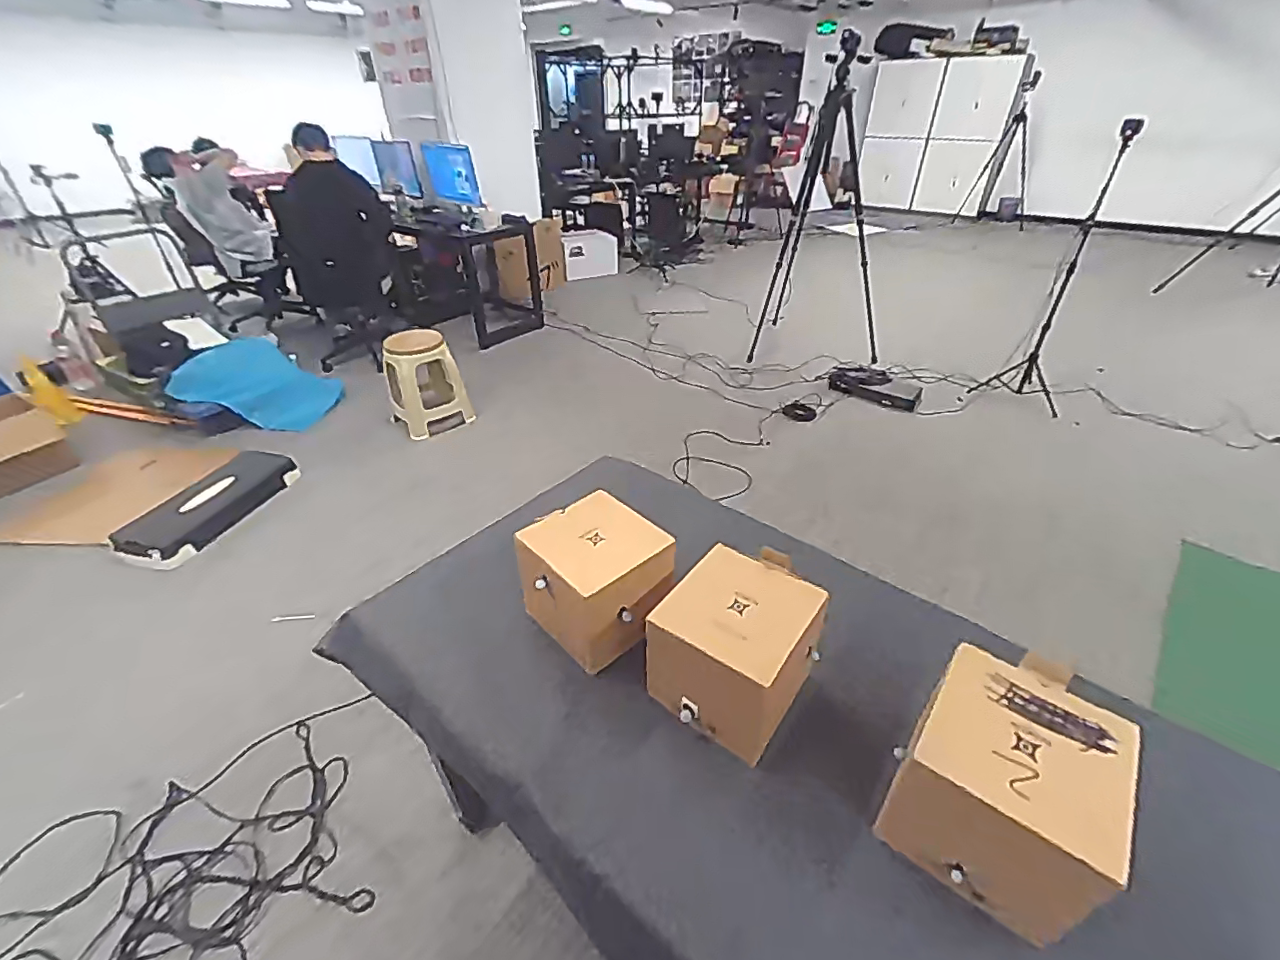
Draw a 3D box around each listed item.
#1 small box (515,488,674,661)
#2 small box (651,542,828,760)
[{"bbox_3d":[-0.066,0.146,0.822,0.168,0.176,0.179,-28,43,-34],"label":"small box"},{"bbox_3d":[0.125,0.219,0.716,0.168,0.176,0.179,22,40,30],"label":"small box"}]
